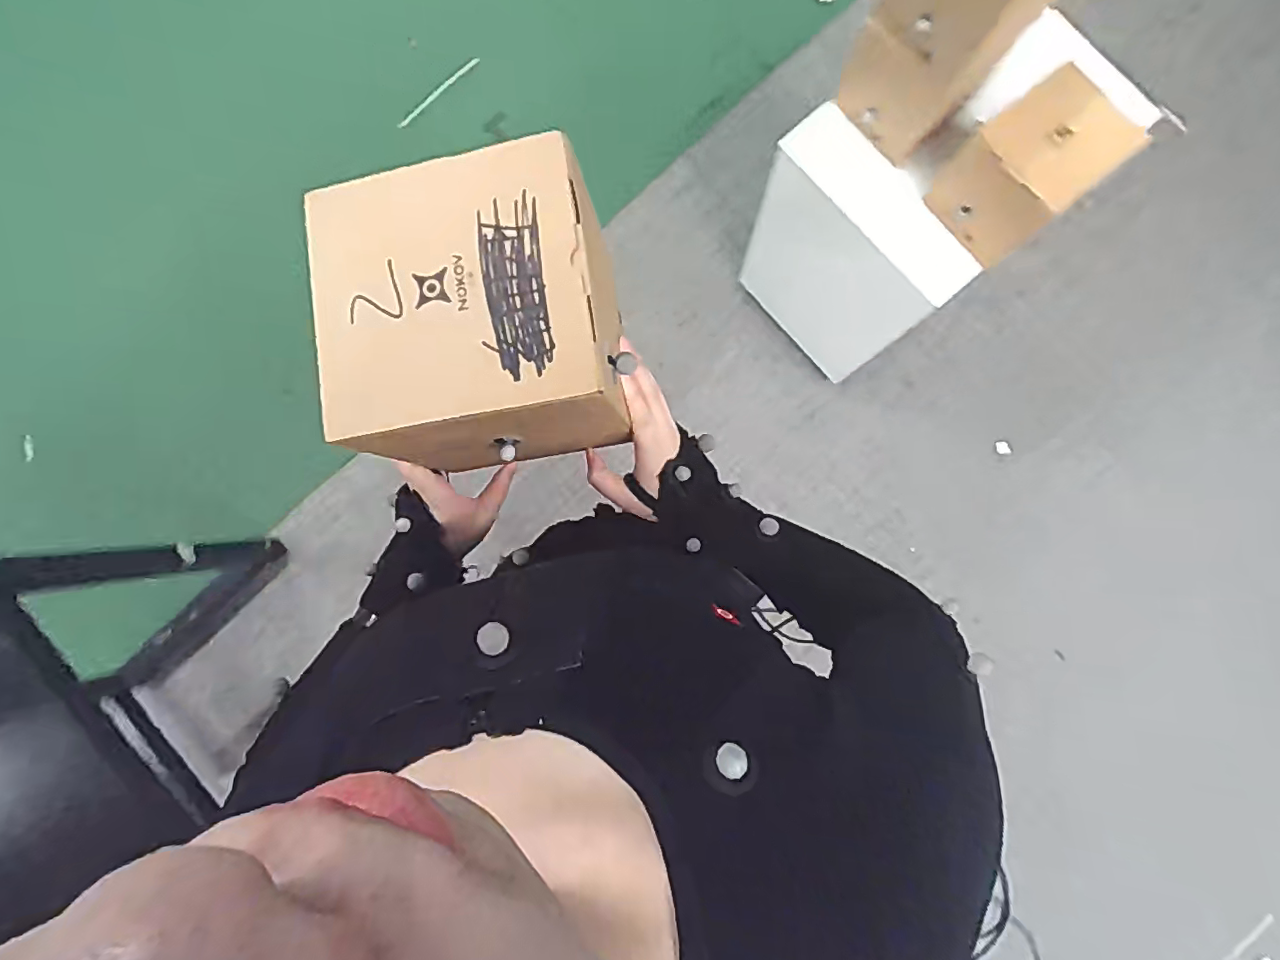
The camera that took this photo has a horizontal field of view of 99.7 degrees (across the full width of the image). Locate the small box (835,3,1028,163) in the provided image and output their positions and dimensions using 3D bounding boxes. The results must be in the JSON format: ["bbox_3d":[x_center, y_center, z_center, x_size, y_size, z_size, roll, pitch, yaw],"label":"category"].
[{"bbox_3d":[0.444,-0.658,0.852,0.179,0.176,0.168,-41,86,1],"label":"small box"}]

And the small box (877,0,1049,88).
[{"bbox_3d":[0.443,-0.666,0.687,0.179,0.176,0.168,-40,85,0],"label":"small box"}]

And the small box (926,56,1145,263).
[{"bbox_3d":[0.590,-0.479,0.835,0.179,0.176,0.168,-39,85,0],"label":"small box"}]
